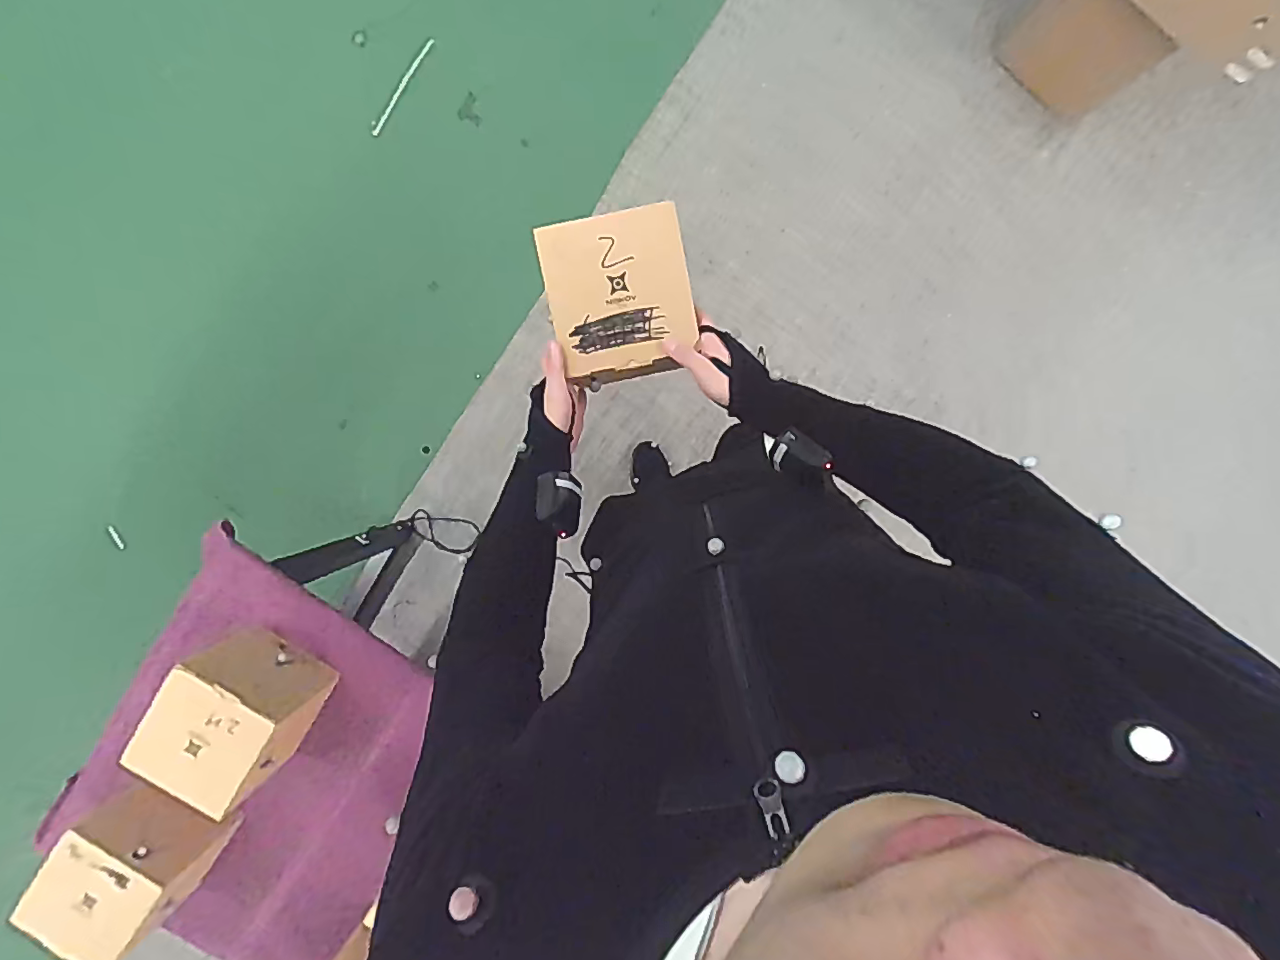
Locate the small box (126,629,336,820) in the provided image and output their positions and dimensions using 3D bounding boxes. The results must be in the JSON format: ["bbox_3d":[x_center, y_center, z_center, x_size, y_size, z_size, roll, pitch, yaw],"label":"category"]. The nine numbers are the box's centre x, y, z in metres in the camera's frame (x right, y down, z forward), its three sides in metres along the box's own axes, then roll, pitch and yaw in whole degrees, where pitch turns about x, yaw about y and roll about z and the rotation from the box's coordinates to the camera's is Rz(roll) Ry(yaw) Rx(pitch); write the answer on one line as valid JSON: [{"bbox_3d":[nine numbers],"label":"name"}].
[{"bbox_3d":[-0.621,0.370,0.847,0.168,0.176,0.179,33,94,-4],"label":"small box"}]

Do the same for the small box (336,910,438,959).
[{"bbox_3d":[-0.445,0.869,0.894,0.168,0.176,0.179,36,93,-4],"label":"small box"}]

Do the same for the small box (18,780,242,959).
[{"bbox_3d":[-0.800,0.617,0.871,0.168,0.176,0.179,34,94,-4],"label":"small box"}]
